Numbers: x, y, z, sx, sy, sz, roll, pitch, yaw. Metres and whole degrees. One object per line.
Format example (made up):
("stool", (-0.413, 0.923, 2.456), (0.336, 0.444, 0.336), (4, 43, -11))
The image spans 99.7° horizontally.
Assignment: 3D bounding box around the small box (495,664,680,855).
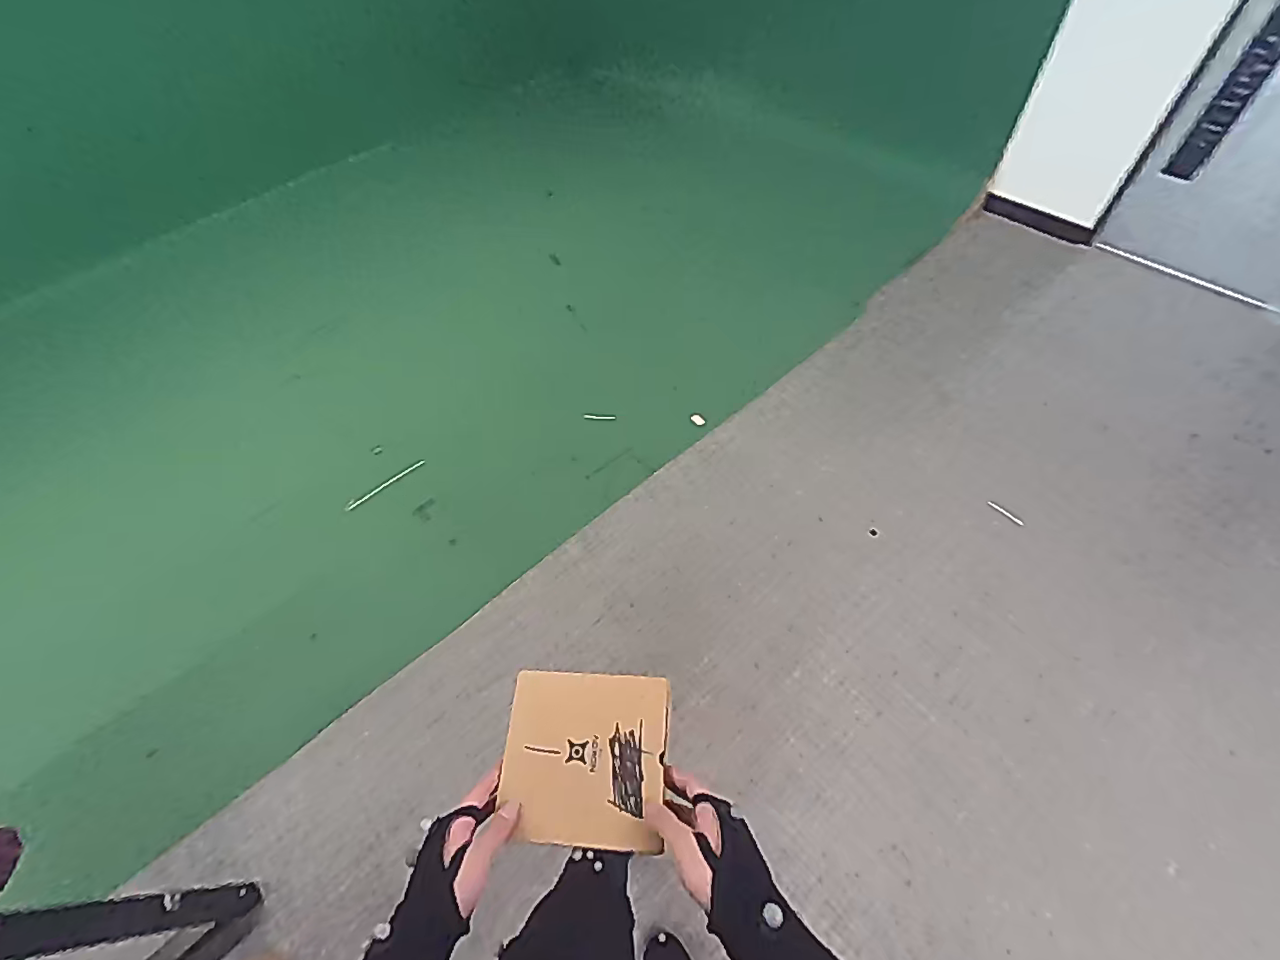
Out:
("small box", (-0.046, 0.324, 0.630), (0.179, 0.176, 0.168), (2, 58, 6))
